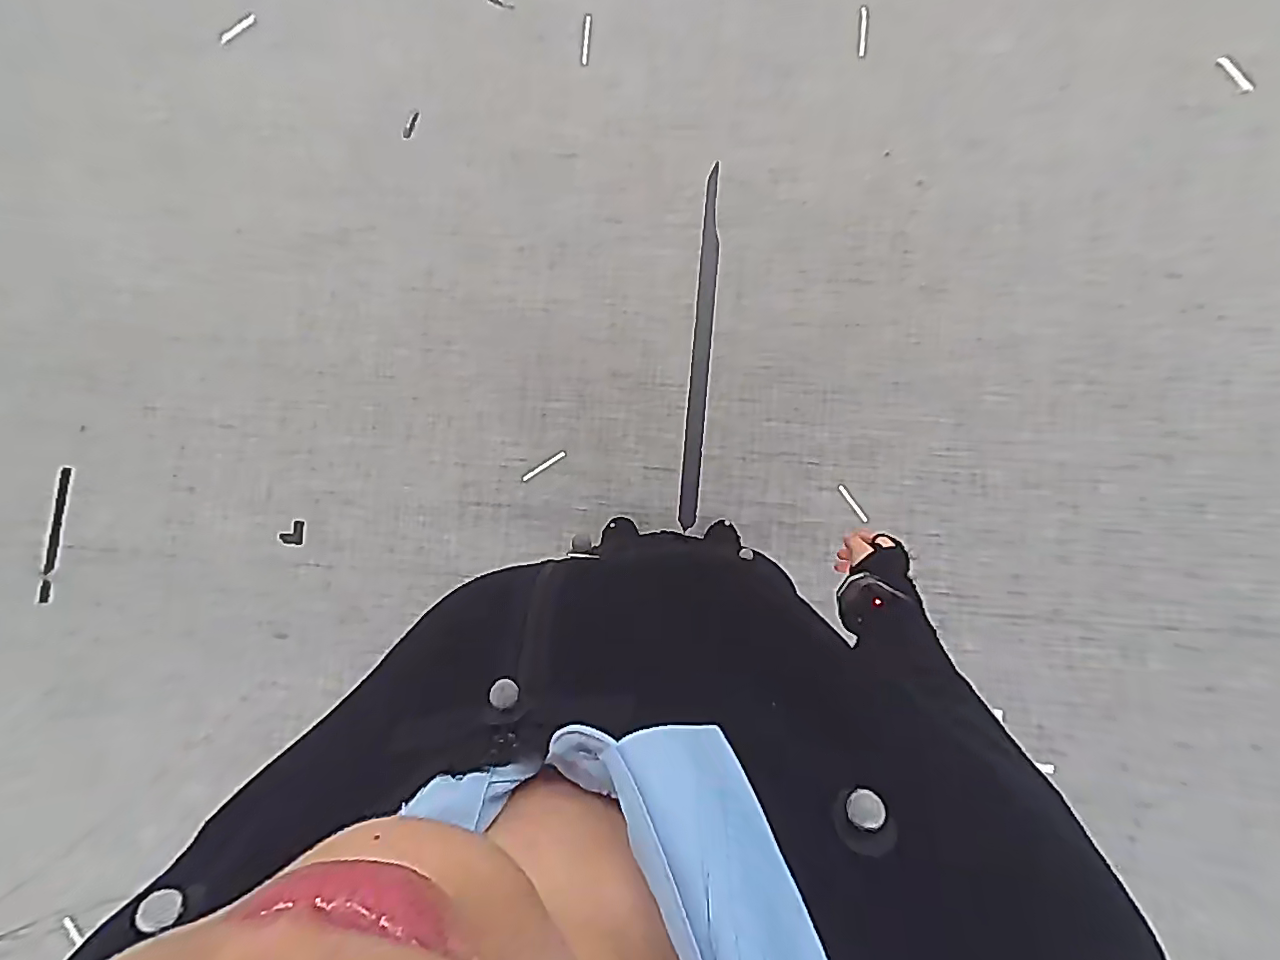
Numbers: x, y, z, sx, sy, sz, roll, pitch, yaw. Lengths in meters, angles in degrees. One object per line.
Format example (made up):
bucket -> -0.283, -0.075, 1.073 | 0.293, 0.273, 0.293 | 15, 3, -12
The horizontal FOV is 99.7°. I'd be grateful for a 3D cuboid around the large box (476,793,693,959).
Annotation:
large box -> -0.095, 0.907, 1.137 | 0.408, 0.320, 0.320 | 4, 86, 5
